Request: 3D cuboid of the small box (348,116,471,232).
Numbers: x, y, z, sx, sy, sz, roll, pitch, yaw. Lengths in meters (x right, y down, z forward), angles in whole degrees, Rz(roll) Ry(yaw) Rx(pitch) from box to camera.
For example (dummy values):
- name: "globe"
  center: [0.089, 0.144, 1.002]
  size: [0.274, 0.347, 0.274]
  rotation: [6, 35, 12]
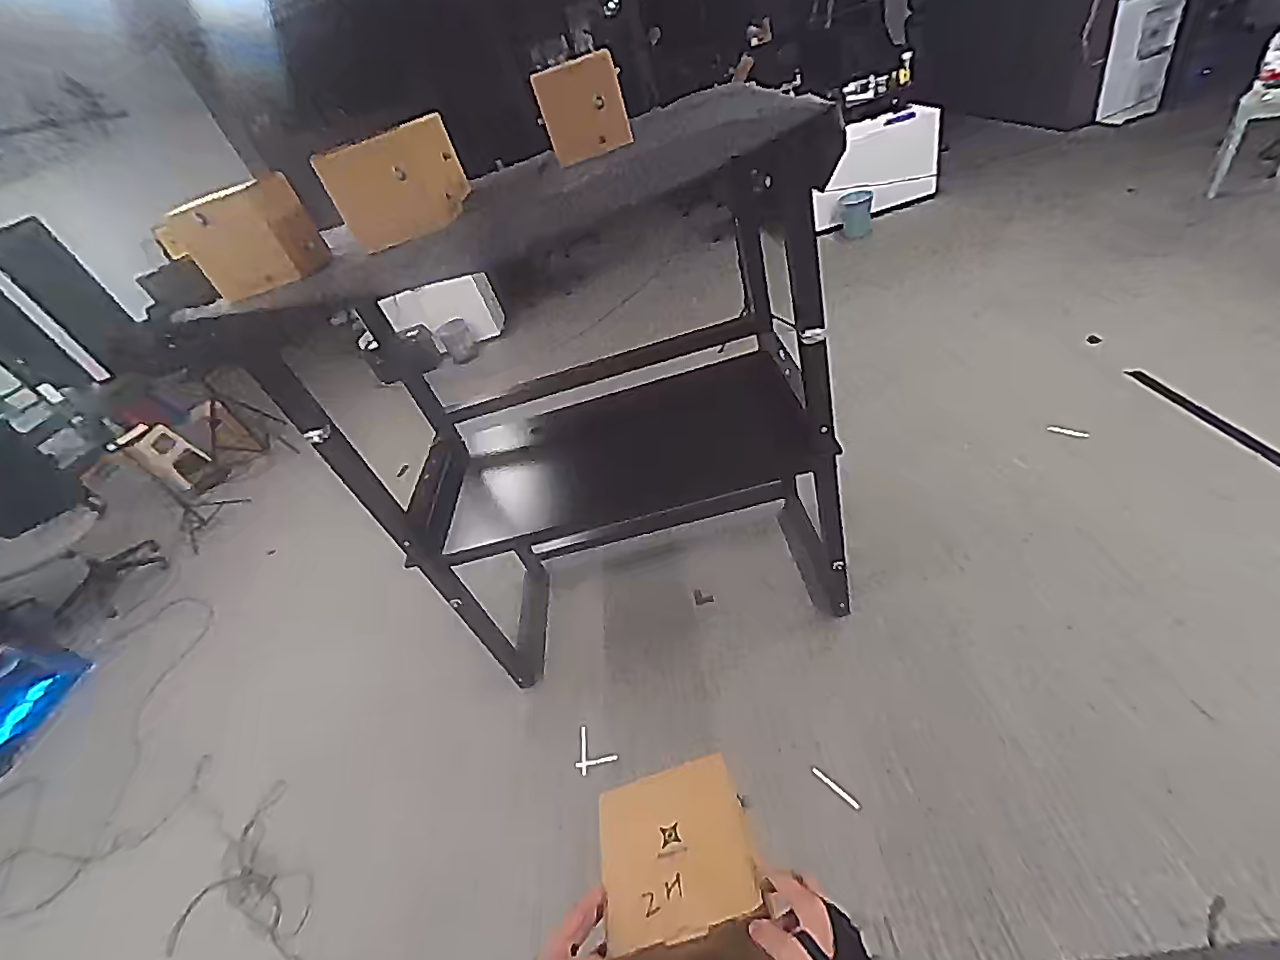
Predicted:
- name: "small box"
  center: [-0.506, -0.688, 1.219]
  size: [0.179, 0.176, 0.168]
  rotation: [-15, 39, 8]

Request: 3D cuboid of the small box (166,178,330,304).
- name: "small box"
  center: [-0.756, -0.472, 1.070]
  size: [0.168, 0.176, 0.179]
  rotation: [-17, 38, 5]

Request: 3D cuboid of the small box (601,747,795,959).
- name: "small box"
  center: [0.063, 0.463, 0.634]
  size: [0.168, 0.176, 0.179]
  rotation: [-21, 27, 3]

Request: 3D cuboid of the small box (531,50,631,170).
- name: "small box"
  center: [-0.122, -0.793, 1.165]
  size: [0.168, 0.176, 0.179]
  rotation: [-16, 39, 6]
